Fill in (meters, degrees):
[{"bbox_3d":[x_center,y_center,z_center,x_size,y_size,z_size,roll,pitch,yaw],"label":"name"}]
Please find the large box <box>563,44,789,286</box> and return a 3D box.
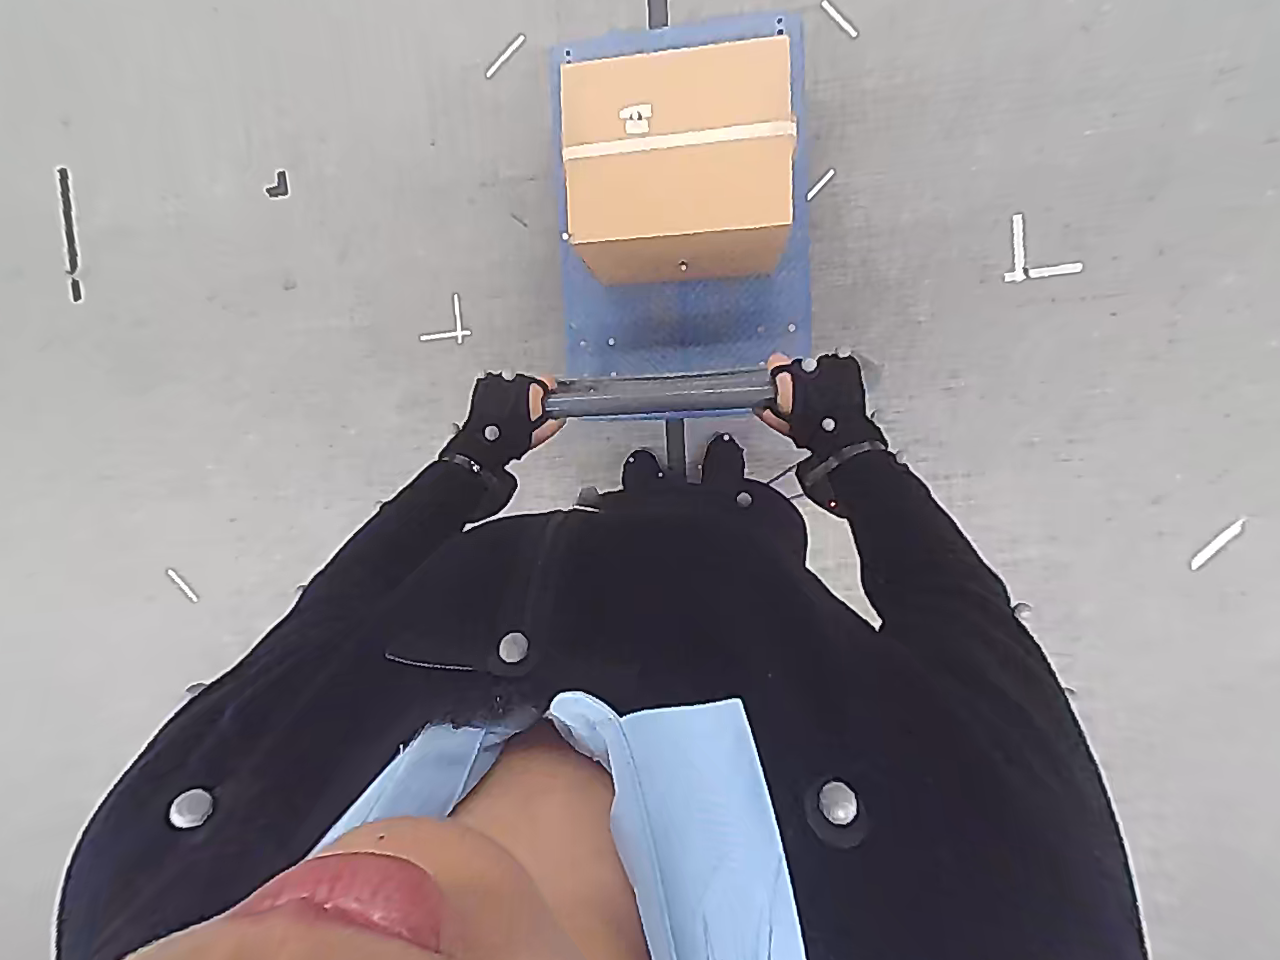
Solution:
[{"bbox_3d":[0.084,-0.613,1.127,0.408,0.320,0.320,-2,94,9],"label":"large box"}]
